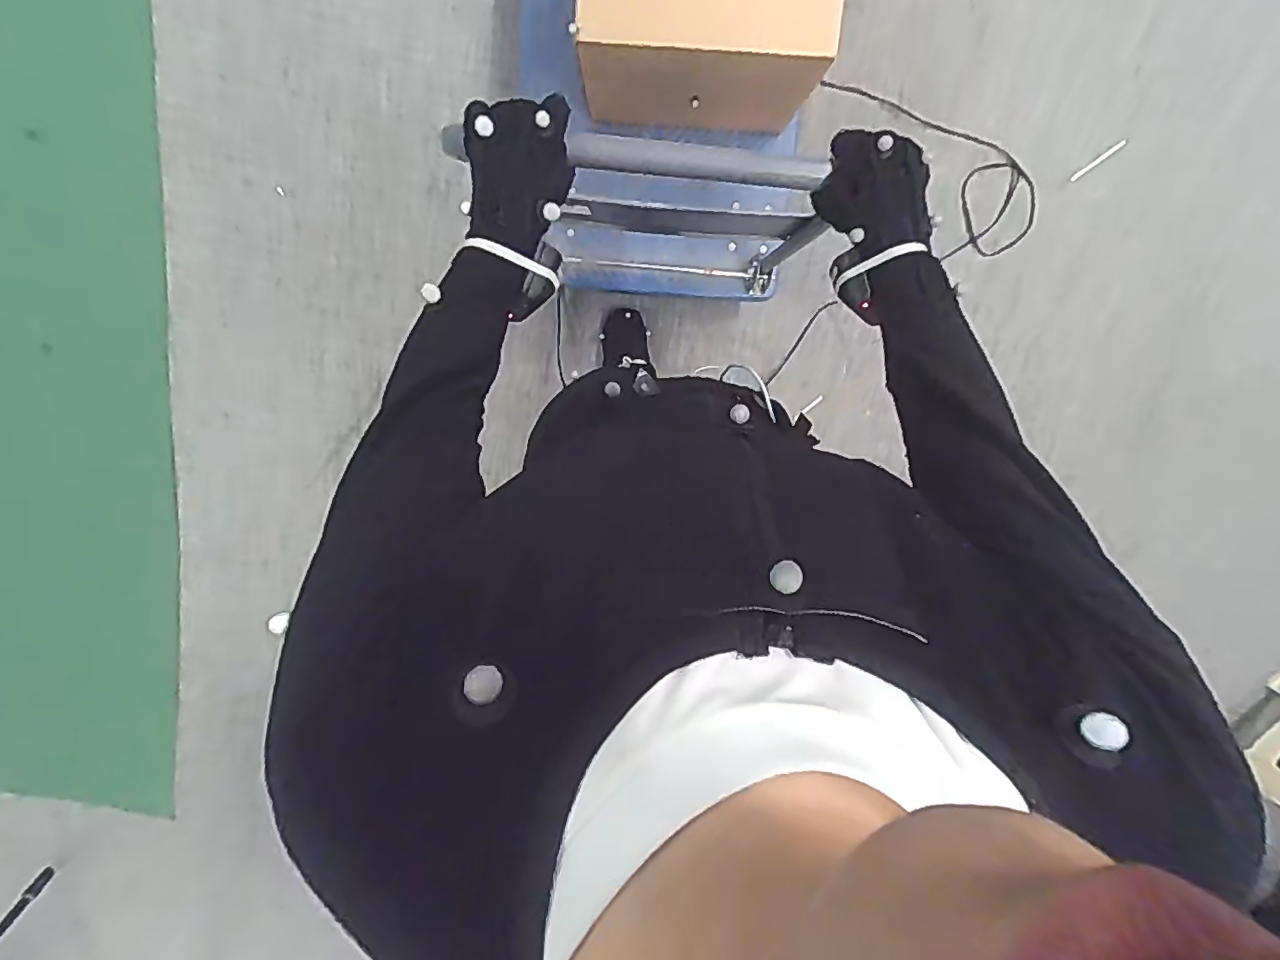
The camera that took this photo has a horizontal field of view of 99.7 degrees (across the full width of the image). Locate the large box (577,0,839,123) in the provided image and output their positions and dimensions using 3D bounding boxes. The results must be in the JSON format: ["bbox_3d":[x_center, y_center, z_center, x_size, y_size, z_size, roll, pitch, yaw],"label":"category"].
[{"bbox_3d":[0.111,-0.854,0.941,0.408,0.320,0.320,3,104,0],"label":"large box"}]
